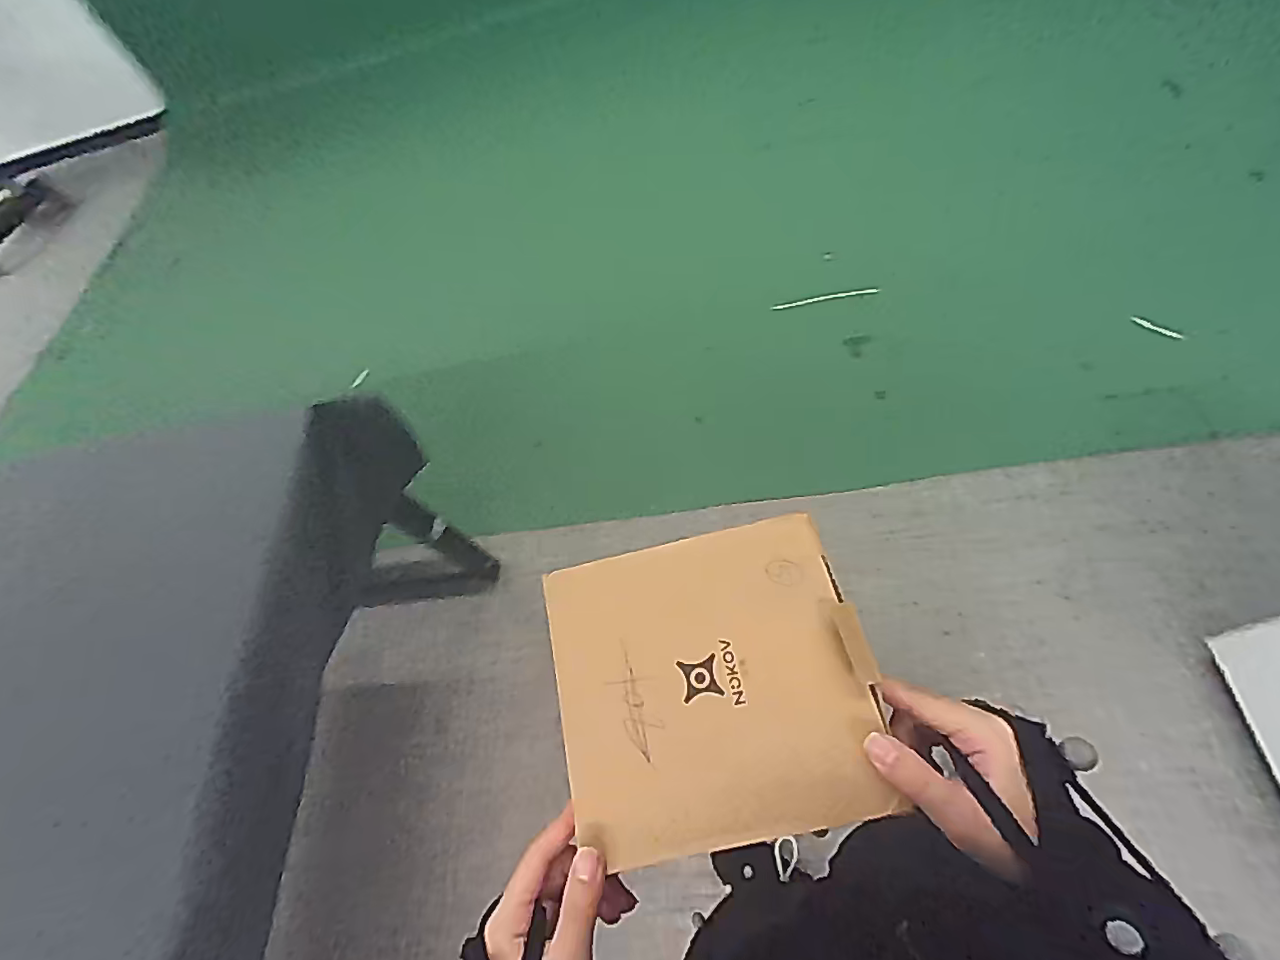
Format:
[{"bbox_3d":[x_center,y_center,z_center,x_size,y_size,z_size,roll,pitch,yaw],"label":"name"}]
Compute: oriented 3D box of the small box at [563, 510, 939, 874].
[{"bbox_3d":[0.062,0.142,0.374,0.179,0.176,0.168,-14,63,4],"label":"small box"}]
